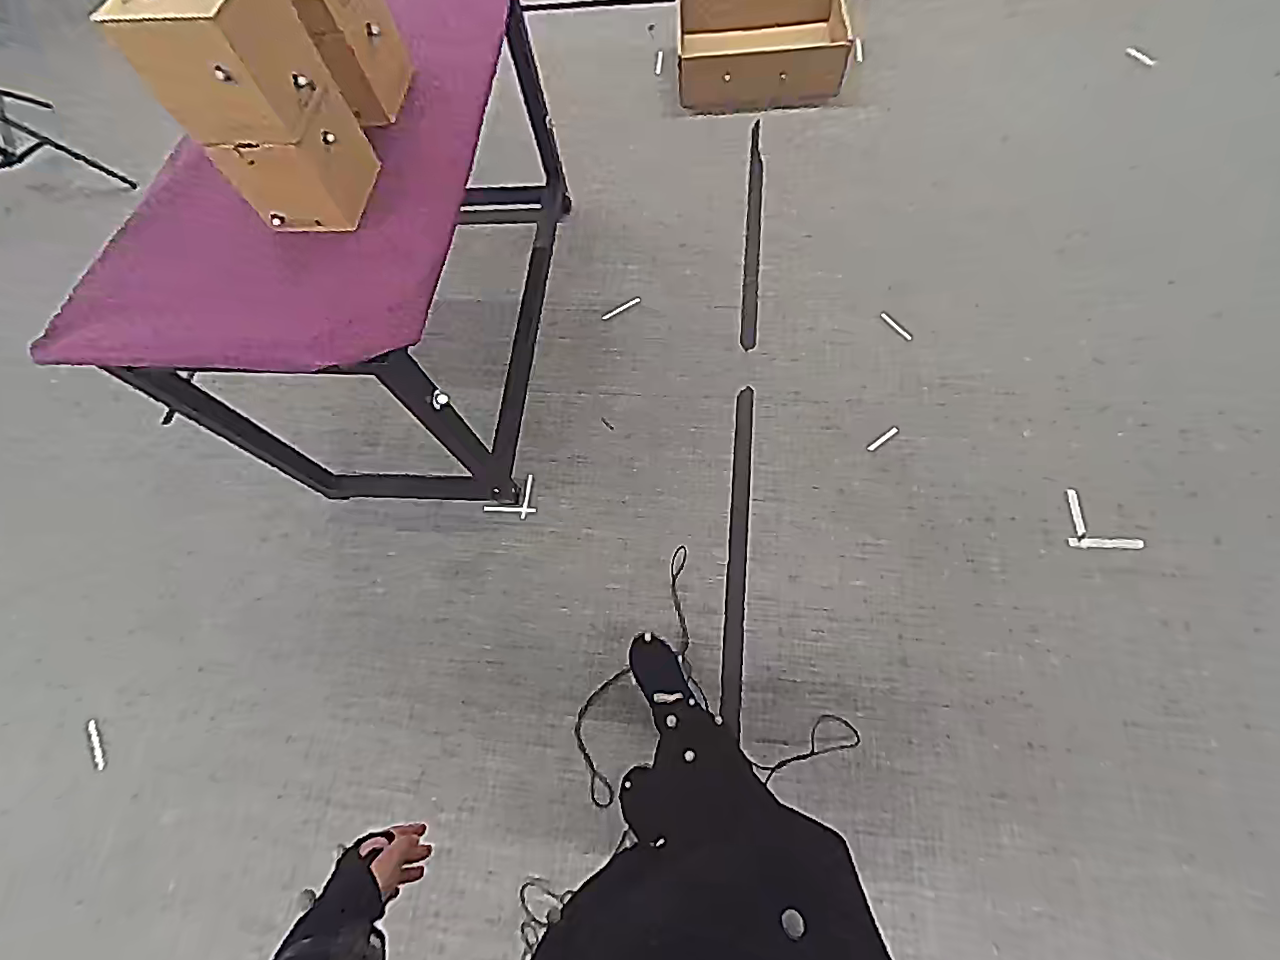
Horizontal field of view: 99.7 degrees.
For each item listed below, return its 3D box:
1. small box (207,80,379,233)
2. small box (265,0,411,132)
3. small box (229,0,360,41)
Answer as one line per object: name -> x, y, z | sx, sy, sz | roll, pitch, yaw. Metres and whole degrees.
small box -> -0.593, -0.560, 0.952 | 0.168, 0.176, 0.179 | 3, 67, 7
small box -> -0.576, -0.823, 1.062 | 0.168, 0.176, 0.179 | 3, 68, 7
small box -> -0.600, -0.880, 0.909 | 0.179, 0.176, 0.168 | 3, 68, 7
